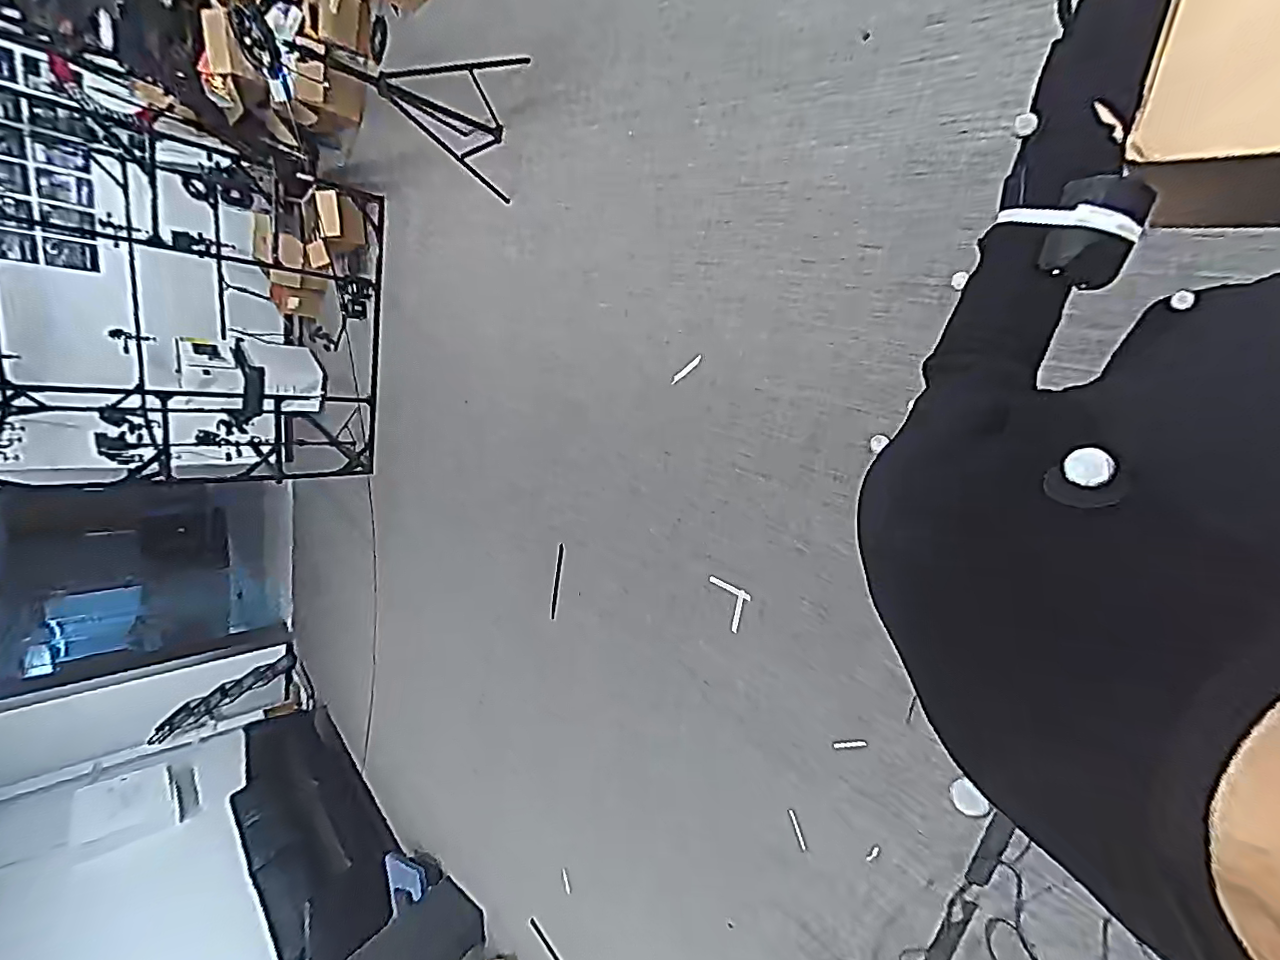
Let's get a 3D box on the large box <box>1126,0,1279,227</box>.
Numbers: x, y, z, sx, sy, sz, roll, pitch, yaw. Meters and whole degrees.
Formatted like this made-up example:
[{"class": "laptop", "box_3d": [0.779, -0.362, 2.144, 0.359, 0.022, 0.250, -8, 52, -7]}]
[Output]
[{"class": "large box", "box_3d": [0.603, -0.346, 0.320, 0.408, 0.320, 0.320, 22, 116, 40]}]
